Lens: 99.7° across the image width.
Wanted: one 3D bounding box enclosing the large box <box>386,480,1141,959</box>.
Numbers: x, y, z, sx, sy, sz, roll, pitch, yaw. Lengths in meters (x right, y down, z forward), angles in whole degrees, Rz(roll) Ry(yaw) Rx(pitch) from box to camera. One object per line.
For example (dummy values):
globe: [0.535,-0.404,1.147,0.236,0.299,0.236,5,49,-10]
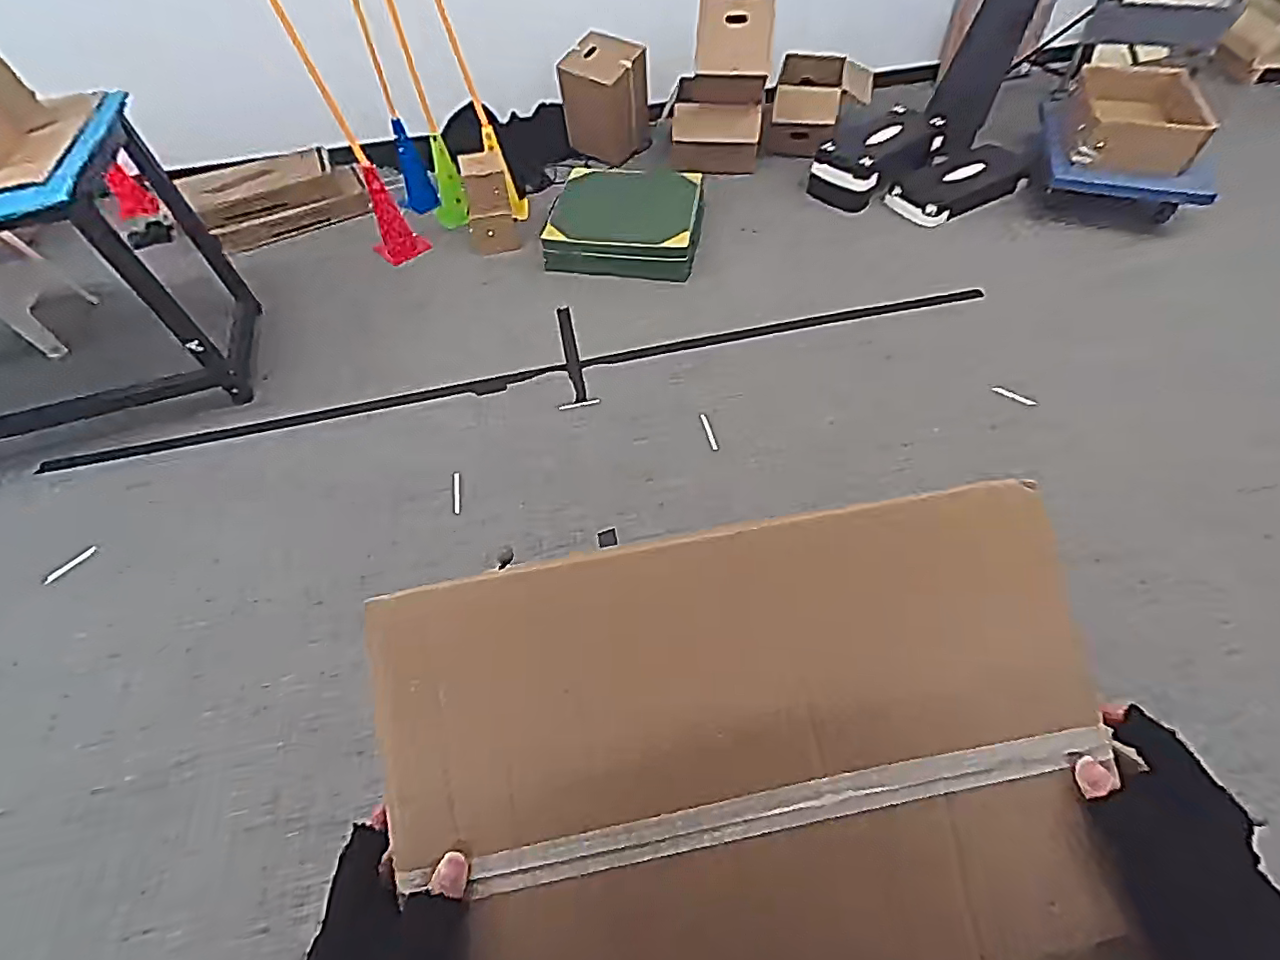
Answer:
large box: [0.064,0.204,0.464,0.408,0.320,0.320,-10,84,-3]
